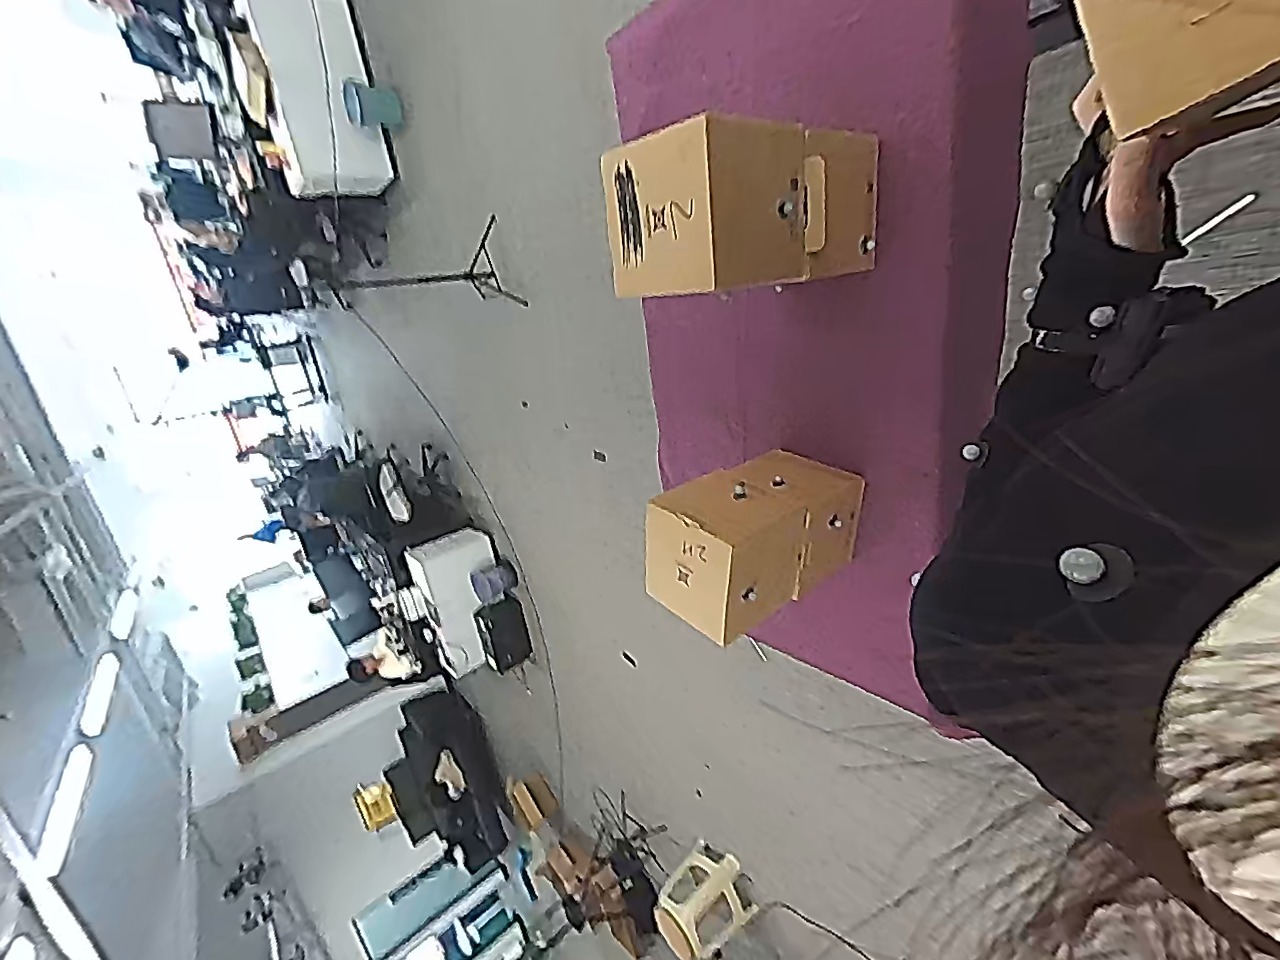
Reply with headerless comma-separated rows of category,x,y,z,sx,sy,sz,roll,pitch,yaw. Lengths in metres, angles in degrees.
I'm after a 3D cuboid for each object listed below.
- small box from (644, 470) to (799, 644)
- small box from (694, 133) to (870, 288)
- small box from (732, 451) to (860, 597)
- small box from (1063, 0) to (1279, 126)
small box,0.123,0.107,0.827,0.168,0.176,0.179,27,127,42
small box,0.200,-0.367,0.753,0.179,0.176,0.168,17,121,48
small box,0.248,0.063,0.923,0.179,0.176,0.168,26,127,43
small box,0.275,-0.264,0.198,0.179,0.176,0.168,-13,104,54
